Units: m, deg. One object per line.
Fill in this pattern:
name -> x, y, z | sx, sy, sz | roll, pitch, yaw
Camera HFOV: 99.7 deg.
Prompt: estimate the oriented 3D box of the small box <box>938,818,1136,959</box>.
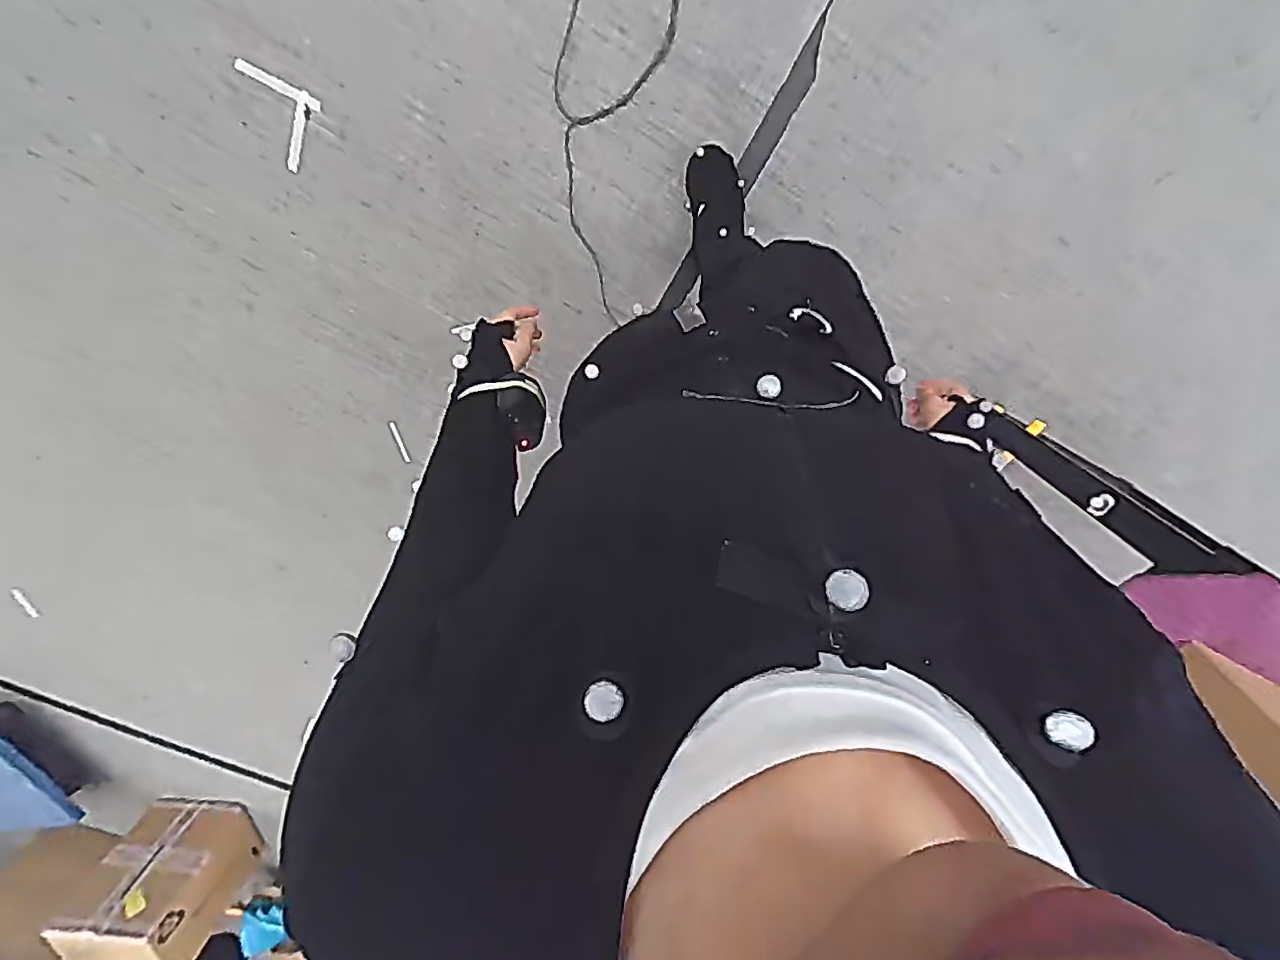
small box -> 0.612, 0.682, 0.860 | 0.168, 0.176, 0.179 | 26, 118, -10
